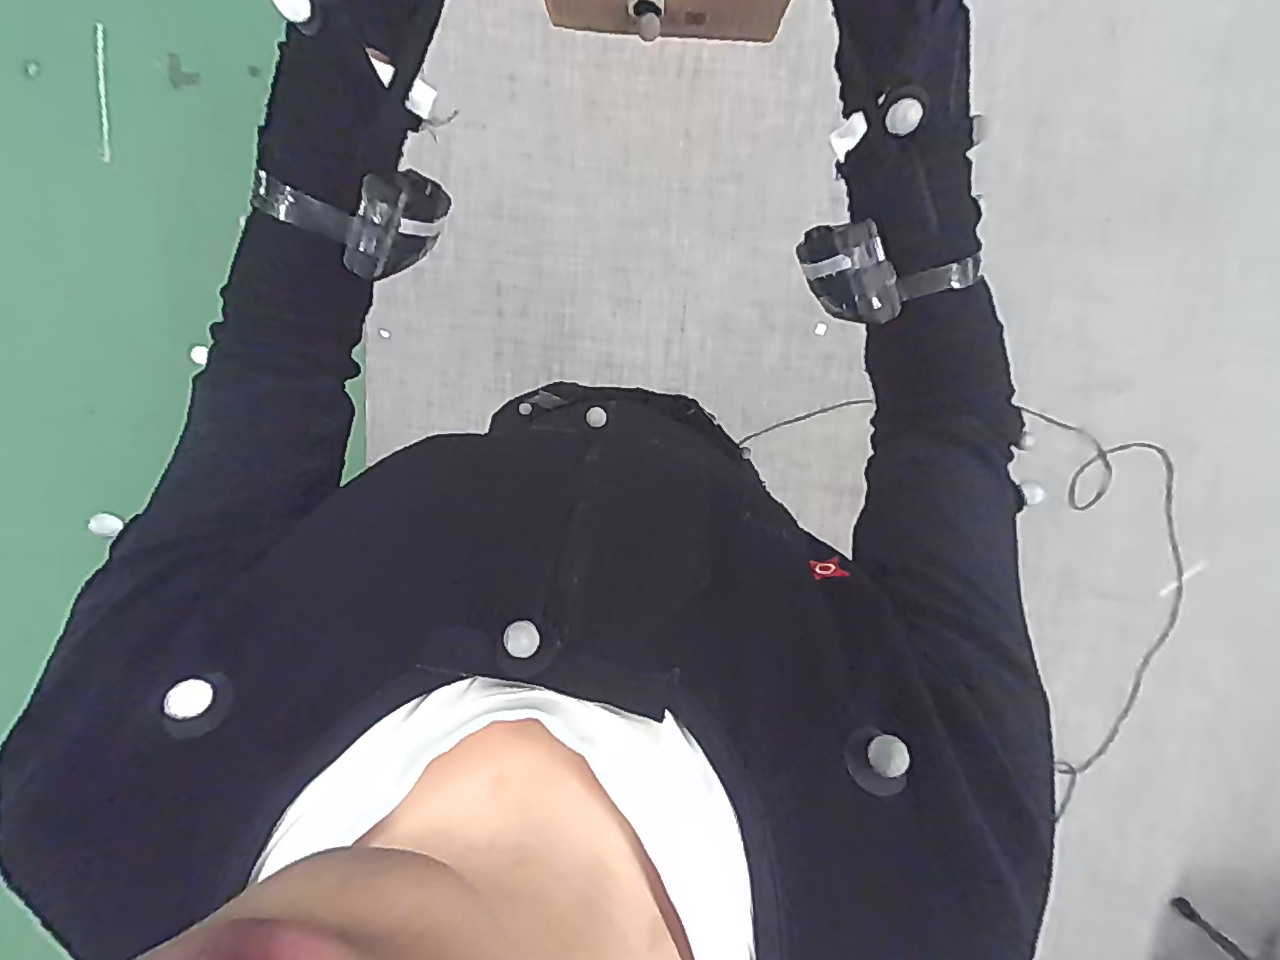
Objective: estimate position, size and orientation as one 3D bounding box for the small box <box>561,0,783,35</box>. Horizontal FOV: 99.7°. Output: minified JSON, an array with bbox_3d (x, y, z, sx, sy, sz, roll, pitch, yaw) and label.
[{"bbox_3d":[0.022,-0.397,0.298,0.168,0.176,0.179,3,104,-1],"label":"small box"}]
